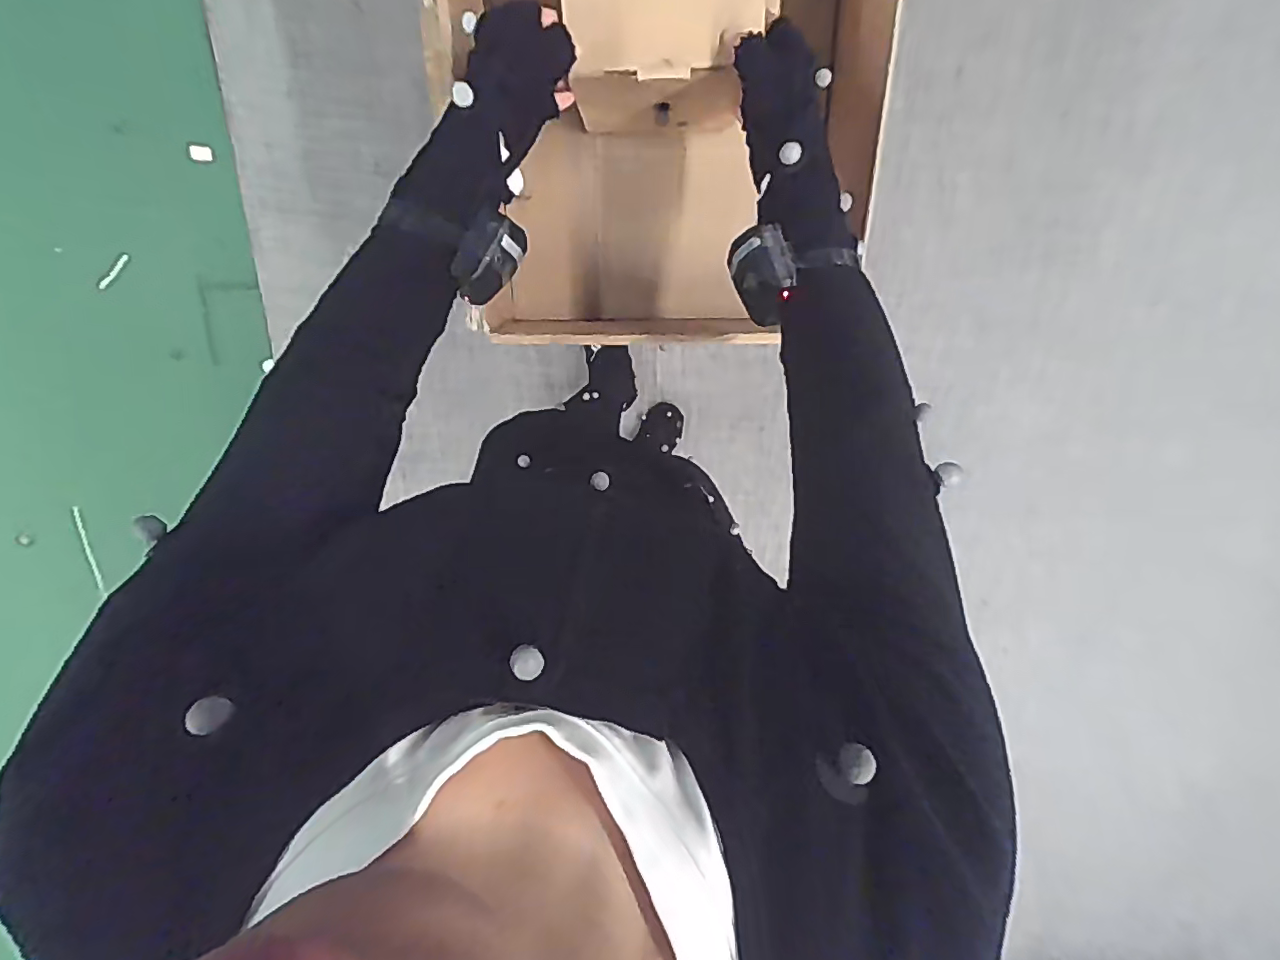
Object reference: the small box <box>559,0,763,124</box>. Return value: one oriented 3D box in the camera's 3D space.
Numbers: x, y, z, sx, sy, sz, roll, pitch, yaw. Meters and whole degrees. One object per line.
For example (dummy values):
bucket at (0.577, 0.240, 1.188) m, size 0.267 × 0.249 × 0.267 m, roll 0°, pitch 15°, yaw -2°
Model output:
small box at (0.019, -0.444, 0.493) m, size 0.168 × 0.176 × 0.179 m, roll -1°, pitch 109°, yaw 1°
